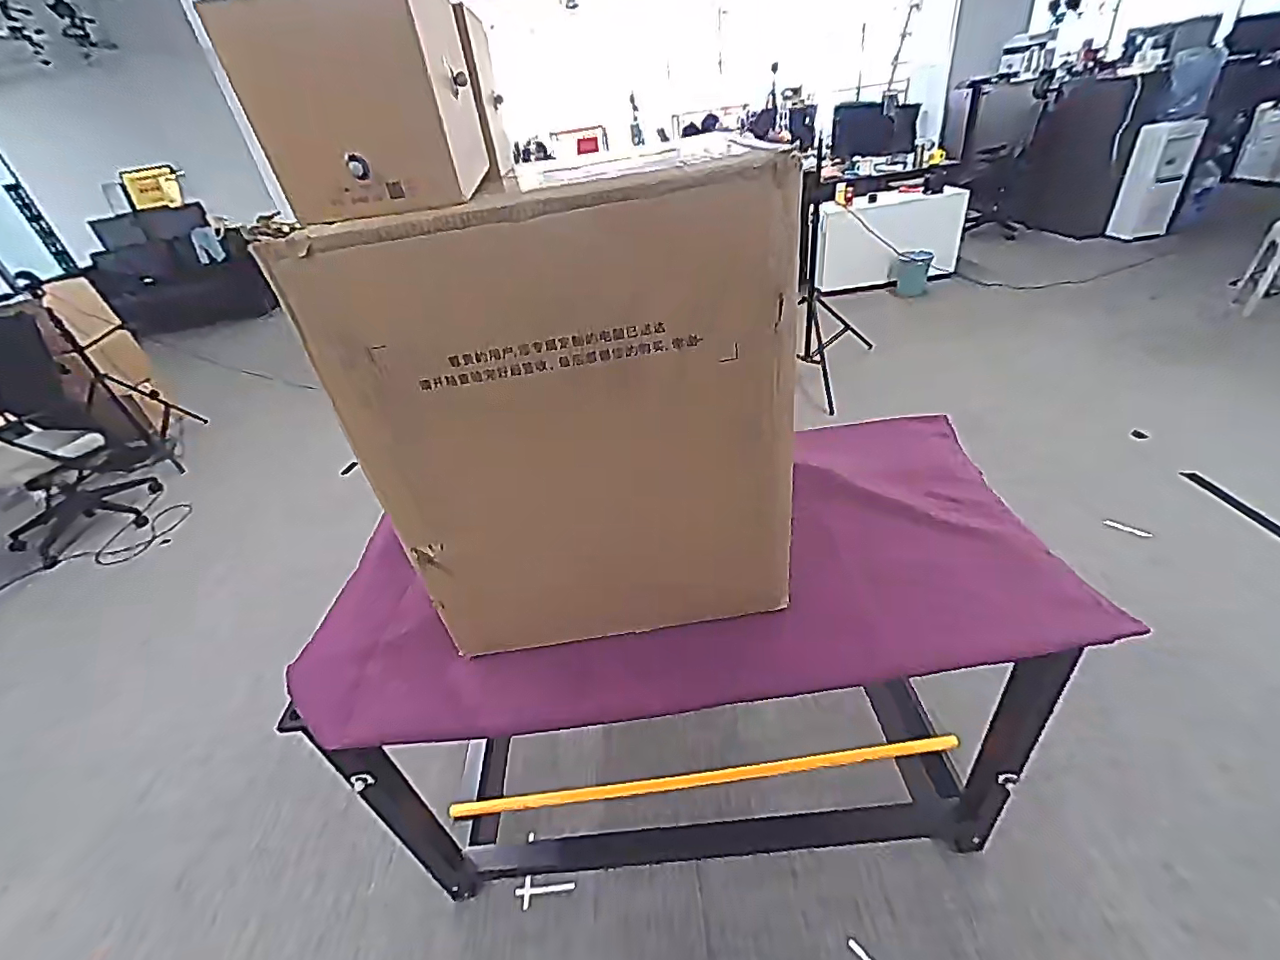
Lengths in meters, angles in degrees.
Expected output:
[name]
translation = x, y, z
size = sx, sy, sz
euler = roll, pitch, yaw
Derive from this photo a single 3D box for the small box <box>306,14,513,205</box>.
[small box]
translation = -0.268, -0.462, 0.685
size = 0.179, 0.176, 0.168
euler = -8, 34, -1
